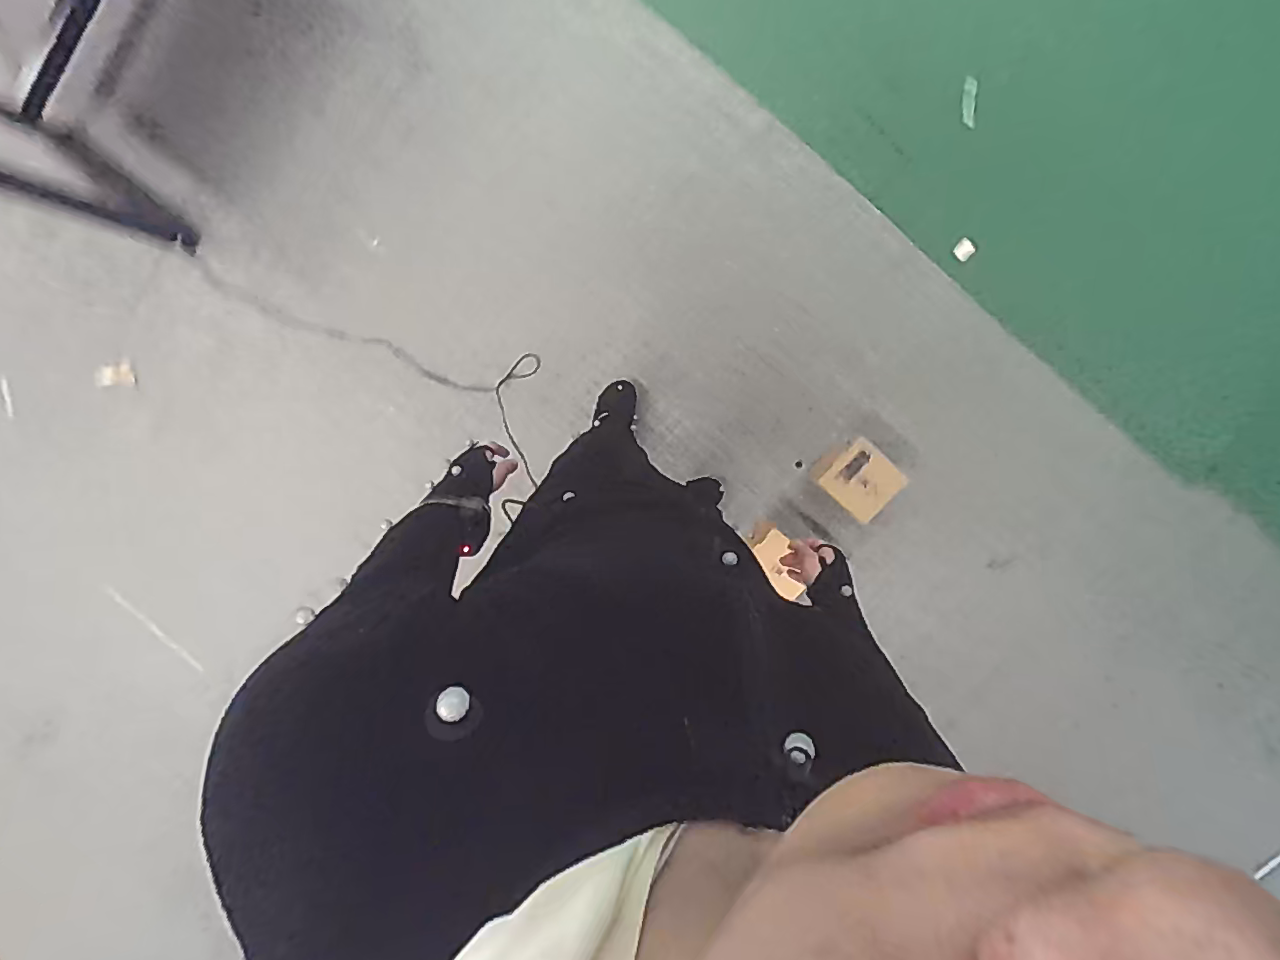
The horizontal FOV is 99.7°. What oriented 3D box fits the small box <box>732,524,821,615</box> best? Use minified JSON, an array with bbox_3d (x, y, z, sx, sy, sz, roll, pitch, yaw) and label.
[{"bbox_3d":[0.382,0.245,1.540,0.179,0.176,0.168,41,99,2],"label":"small box"}]
